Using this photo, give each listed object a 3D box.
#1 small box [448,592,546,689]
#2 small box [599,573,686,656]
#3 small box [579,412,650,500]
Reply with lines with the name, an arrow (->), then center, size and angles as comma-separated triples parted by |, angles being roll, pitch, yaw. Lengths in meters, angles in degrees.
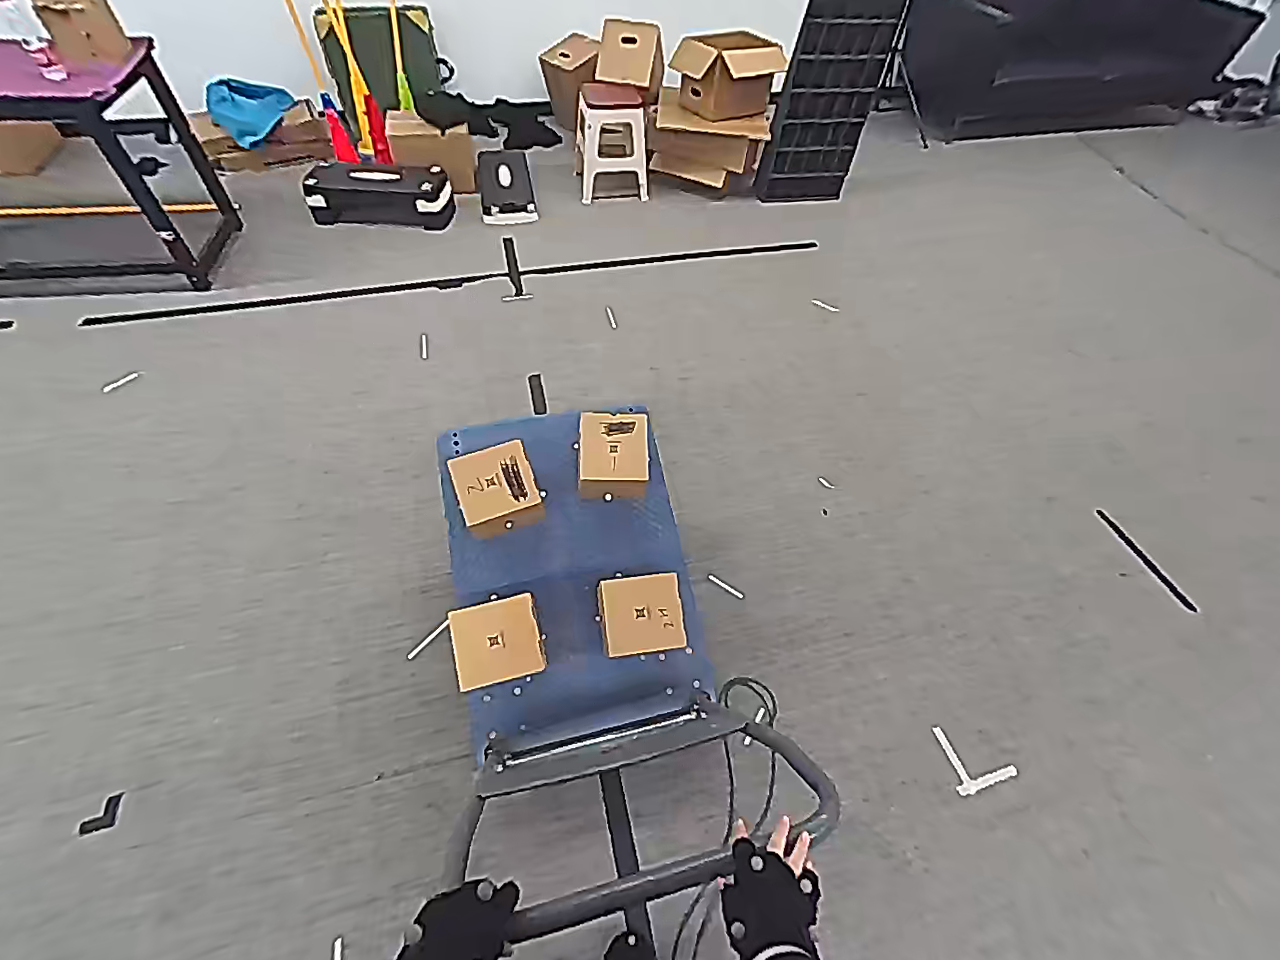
small box -> -0.312, 0.359, 1.204 | 0.179, 0.176, 0.168 | -12, 74, -13
small box -> -0.002, 0.318, 1.263 | 0.179, 0.176, 0.168 | -4, 73, -10
small box -> -0.070, -0.057, 1.375 | 0.168, 0.176, 0.179 | 1, 73, -8
